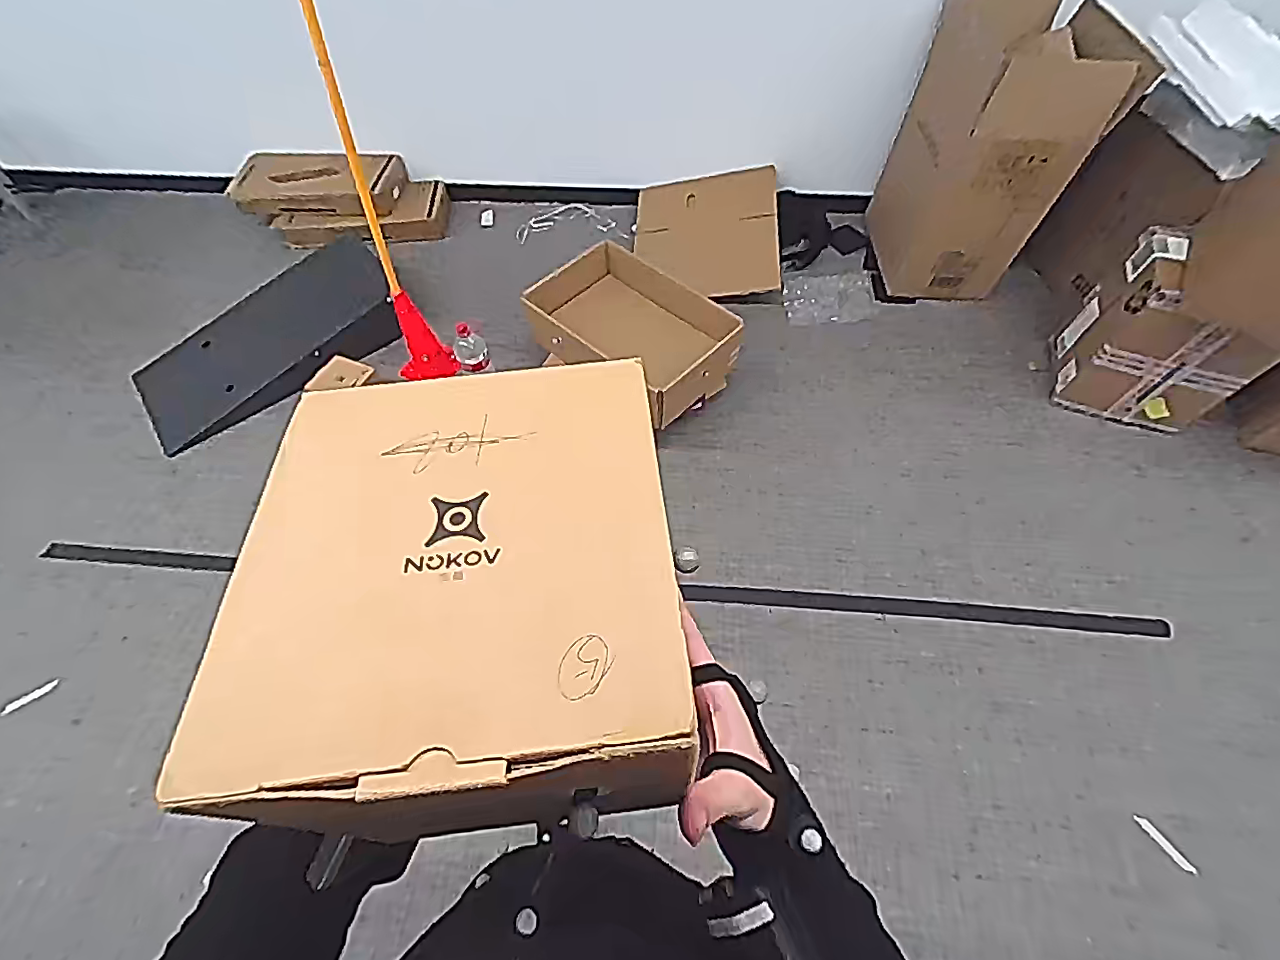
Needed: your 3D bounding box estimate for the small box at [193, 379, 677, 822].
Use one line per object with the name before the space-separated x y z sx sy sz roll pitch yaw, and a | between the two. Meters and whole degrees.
small box | -0.071 0.072 0.291 0.168 0.176 0.179 -6 53 -2
